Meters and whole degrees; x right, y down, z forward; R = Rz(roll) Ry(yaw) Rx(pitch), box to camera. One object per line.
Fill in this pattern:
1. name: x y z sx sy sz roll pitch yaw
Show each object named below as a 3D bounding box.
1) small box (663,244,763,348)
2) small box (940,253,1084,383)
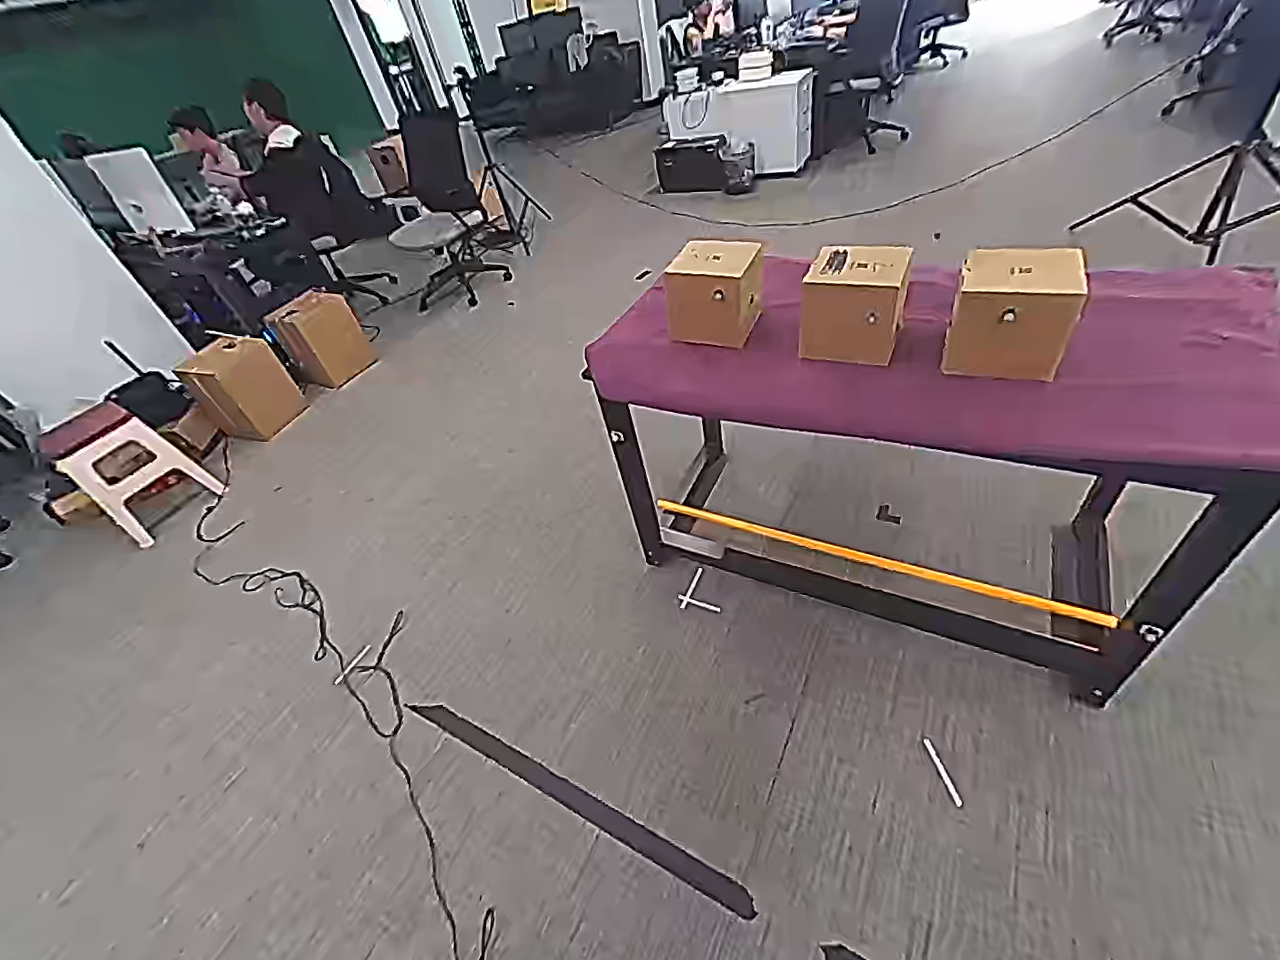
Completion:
1. small box: 0.172 -0.419 1.236 0.179 0.176 0.168 13 49 23
2. small box: 0.664 -0.292 0.979 0.179 0.176 0.168 11 48 26
